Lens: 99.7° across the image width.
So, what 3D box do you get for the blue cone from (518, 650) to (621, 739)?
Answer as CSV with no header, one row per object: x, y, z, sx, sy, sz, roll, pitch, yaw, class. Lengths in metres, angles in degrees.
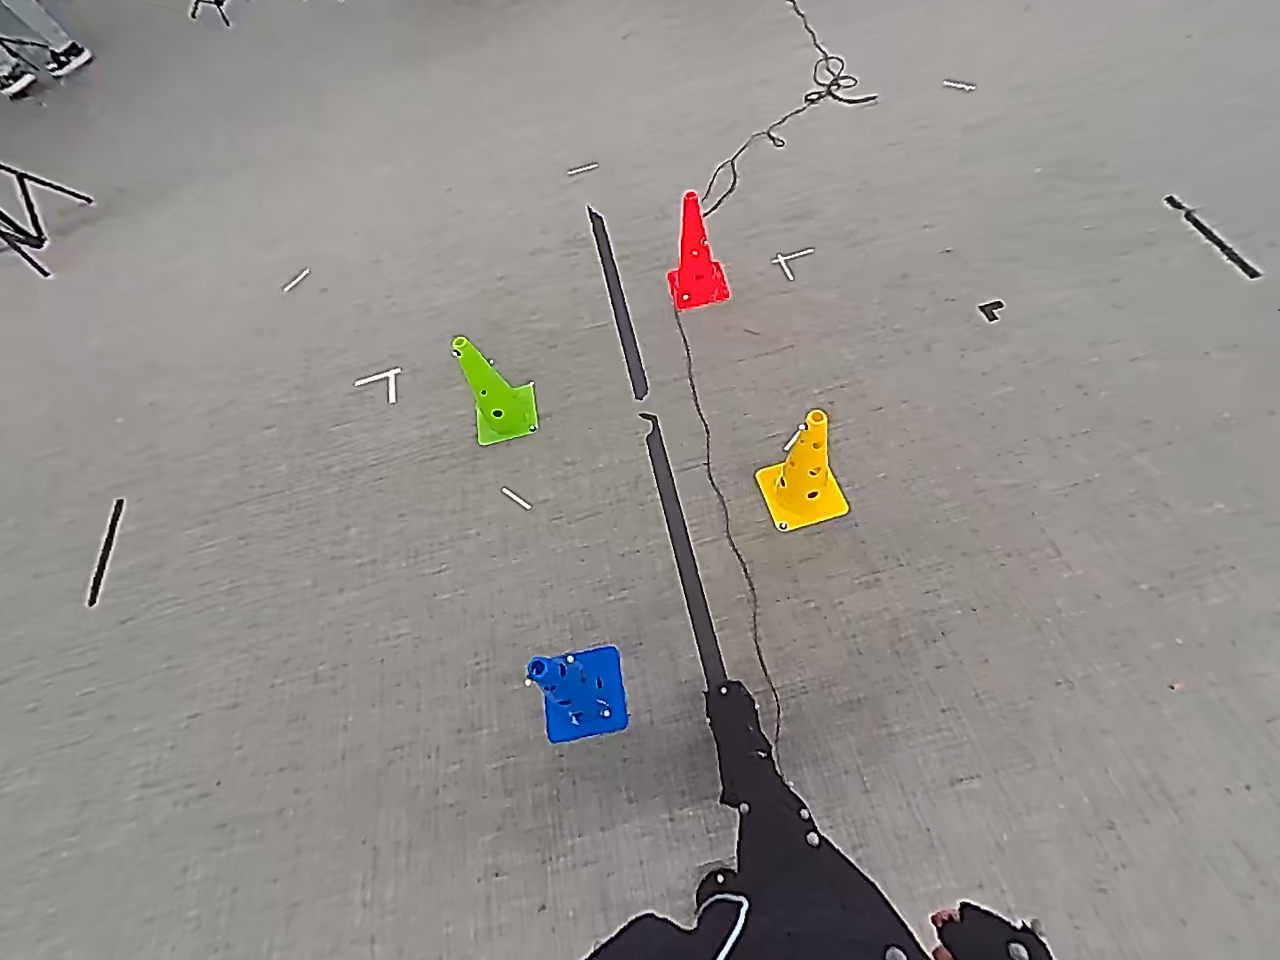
-0.174,0.445,1.187,0.192,0.380,0.193,-12,60,5,blue cone

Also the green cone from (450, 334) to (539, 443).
-0.466,-0.305,1.631,0.202,0.368,0.200,-15,60,3,green cone

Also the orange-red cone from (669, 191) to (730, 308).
0.184,-0.775,1.772,0.199,0.360,0.198,-10,62,4,orange-red cone
